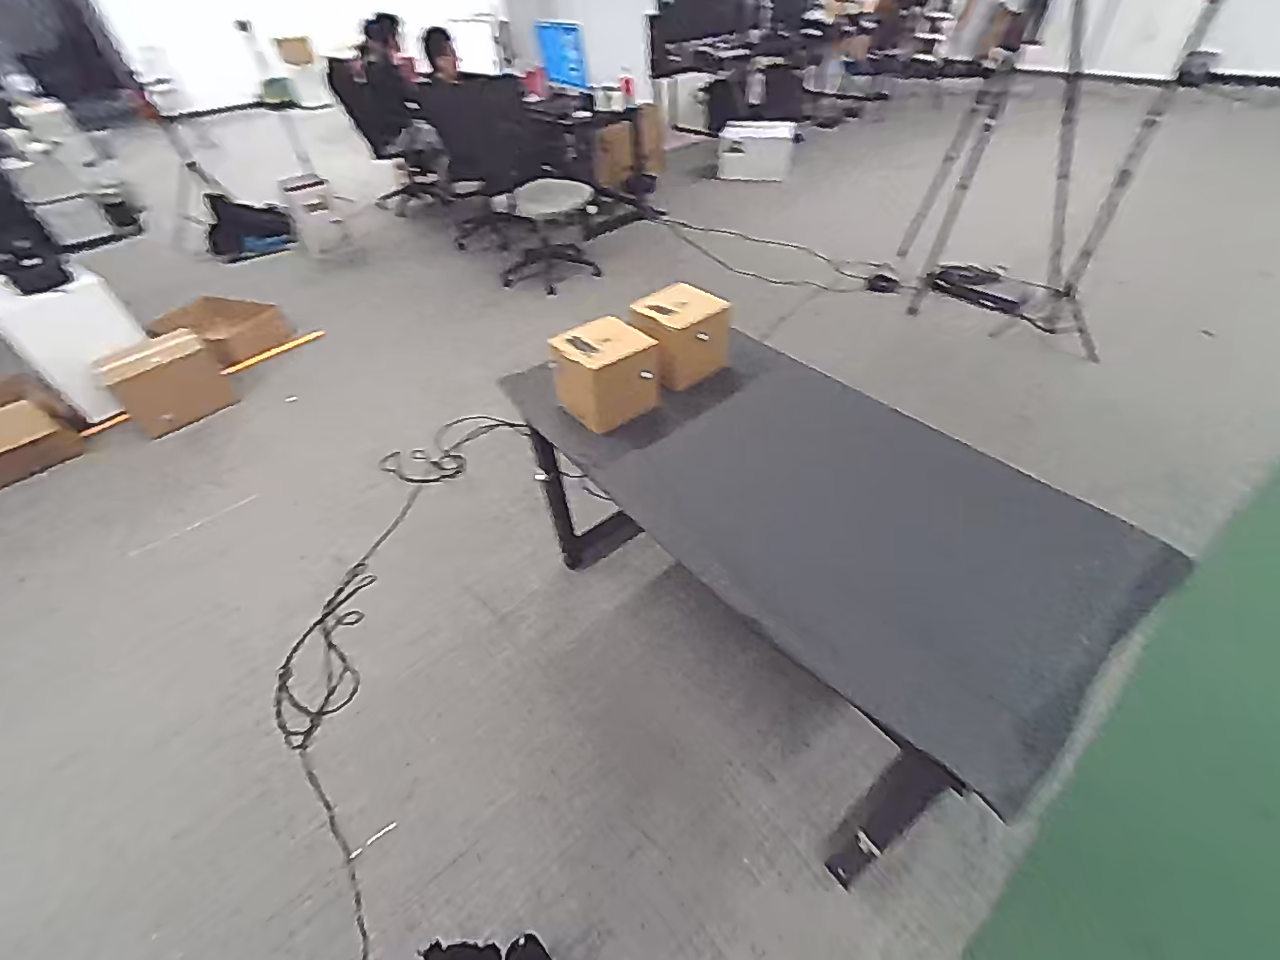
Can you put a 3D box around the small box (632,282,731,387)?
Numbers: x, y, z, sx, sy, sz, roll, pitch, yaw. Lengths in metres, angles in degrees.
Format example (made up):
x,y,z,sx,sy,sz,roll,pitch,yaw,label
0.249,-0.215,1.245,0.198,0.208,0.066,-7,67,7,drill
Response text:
x,y,z,sx,sy,sz,roll,pitch,yaw,label
0.103,-0.352,1.312,0.179,0.176,0.168,-32,51,-25,small box
